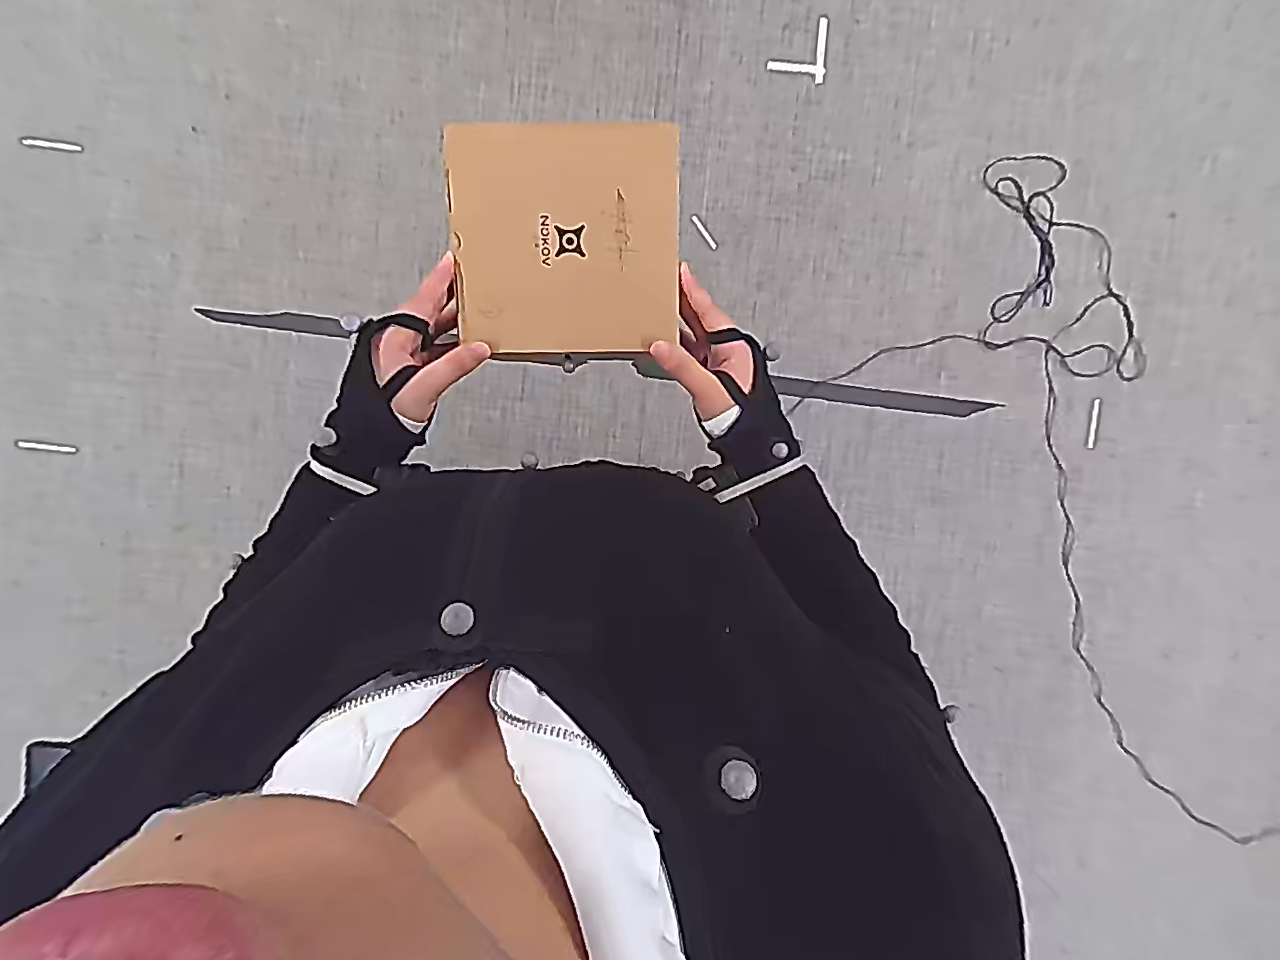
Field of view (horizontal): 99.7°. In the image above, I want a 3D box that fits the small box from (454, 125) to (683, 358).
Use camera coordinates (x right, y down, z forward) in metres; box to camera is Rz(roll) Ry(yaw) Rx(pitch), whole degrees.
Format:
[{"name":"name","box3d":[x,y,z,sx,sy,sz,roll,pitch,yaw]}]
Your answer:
[{"name":"small box","box3d":[-0.055,-0.200,0.499,0.179,0.176,0.168,-1,101,-1]}]
